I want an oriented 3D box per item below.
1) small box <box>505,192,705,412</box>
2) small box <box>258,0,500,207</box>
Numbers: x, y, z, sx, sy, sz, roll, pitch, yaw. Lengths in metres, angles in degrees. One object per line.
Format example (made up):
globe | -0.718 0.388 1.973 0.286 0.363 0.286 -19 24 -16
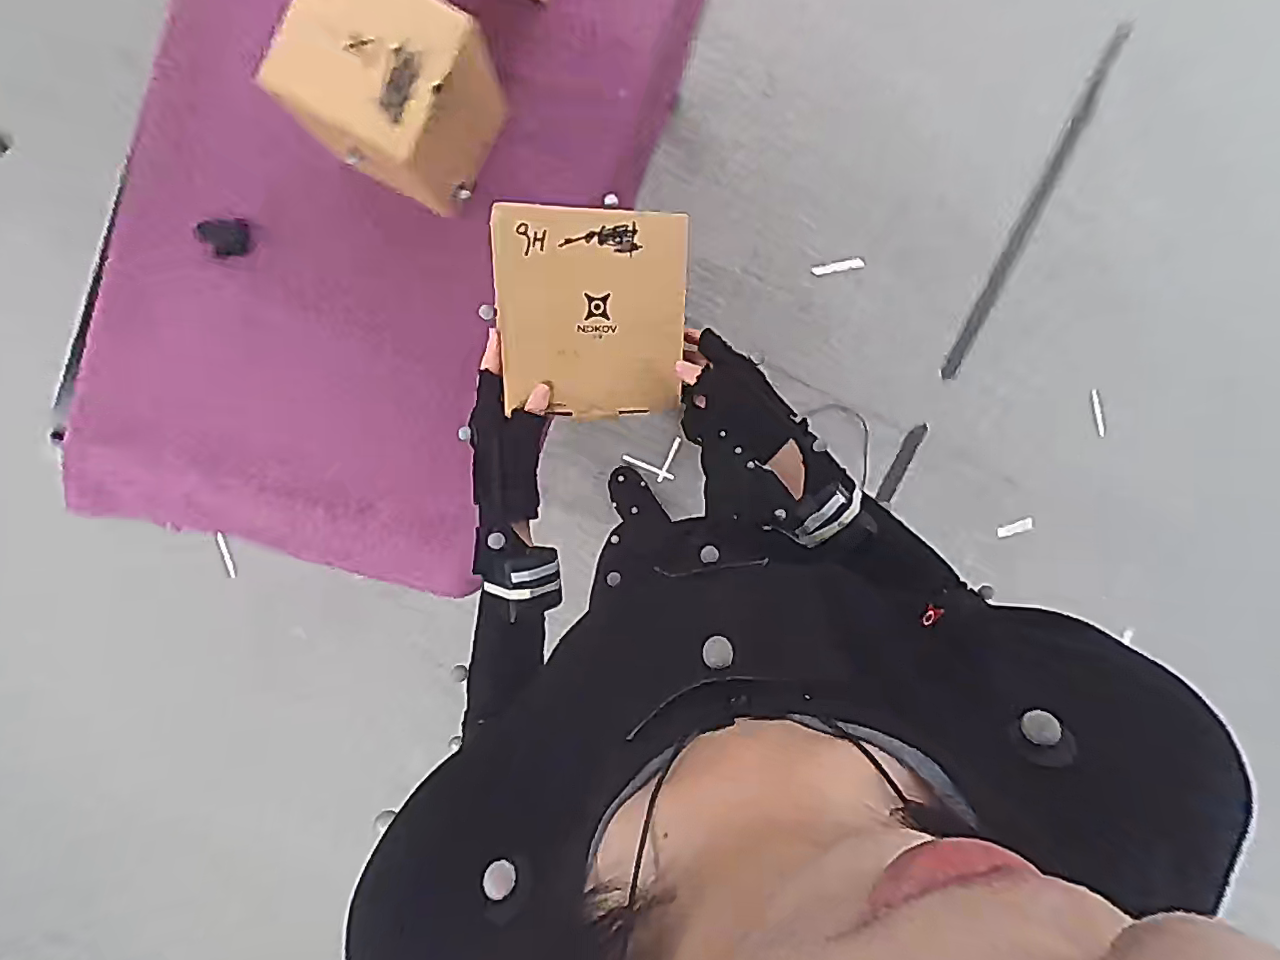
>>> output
small box | -0.048 -0.174 0.545 0.168 0.176 0.179 -1 110 -15
small box | -0.291 -0.462 0.648 0.179 0.176 0.168 28 93 -3
